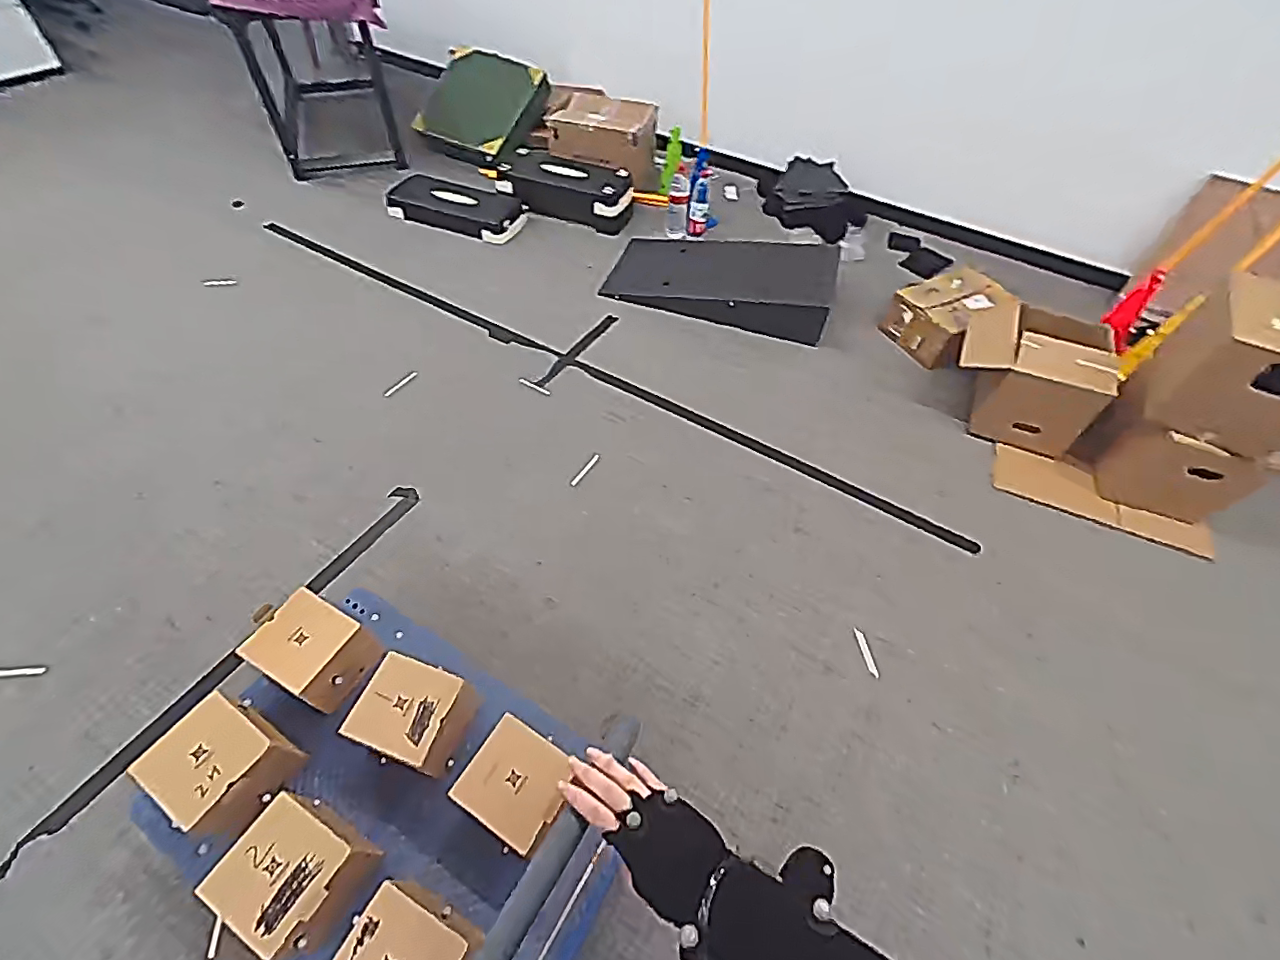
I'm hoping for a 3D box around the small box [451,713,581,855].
[{"bbox_3d":[-0.226,0.585,1.040,0.179,0.176,0.168,27,56,16],"label":"small box"}]

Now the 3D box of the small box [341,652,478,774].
[{"bbox_3d":[-0.454,0.479,1.099,0.179,0.176,0.168,17,54,9],"label":"small box"}]

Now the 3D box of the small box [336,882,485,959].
[{"bbox_3d":[-0.375,0.787,0.877,0.179,0.176,0.168,25,55,13],"label":"small box"}]

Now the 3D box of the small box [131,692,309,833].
[{"bbox_3d":[-0.783,0.542,1.027,0.179,0.176,0.168,29,57,16],"label":"small box"}]

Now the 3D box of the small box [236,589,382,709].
[{"bbox_3d":[-0.696,0.370,1.162,0.179,0.176,0.168,25,56,14],"label":"small box"}]
